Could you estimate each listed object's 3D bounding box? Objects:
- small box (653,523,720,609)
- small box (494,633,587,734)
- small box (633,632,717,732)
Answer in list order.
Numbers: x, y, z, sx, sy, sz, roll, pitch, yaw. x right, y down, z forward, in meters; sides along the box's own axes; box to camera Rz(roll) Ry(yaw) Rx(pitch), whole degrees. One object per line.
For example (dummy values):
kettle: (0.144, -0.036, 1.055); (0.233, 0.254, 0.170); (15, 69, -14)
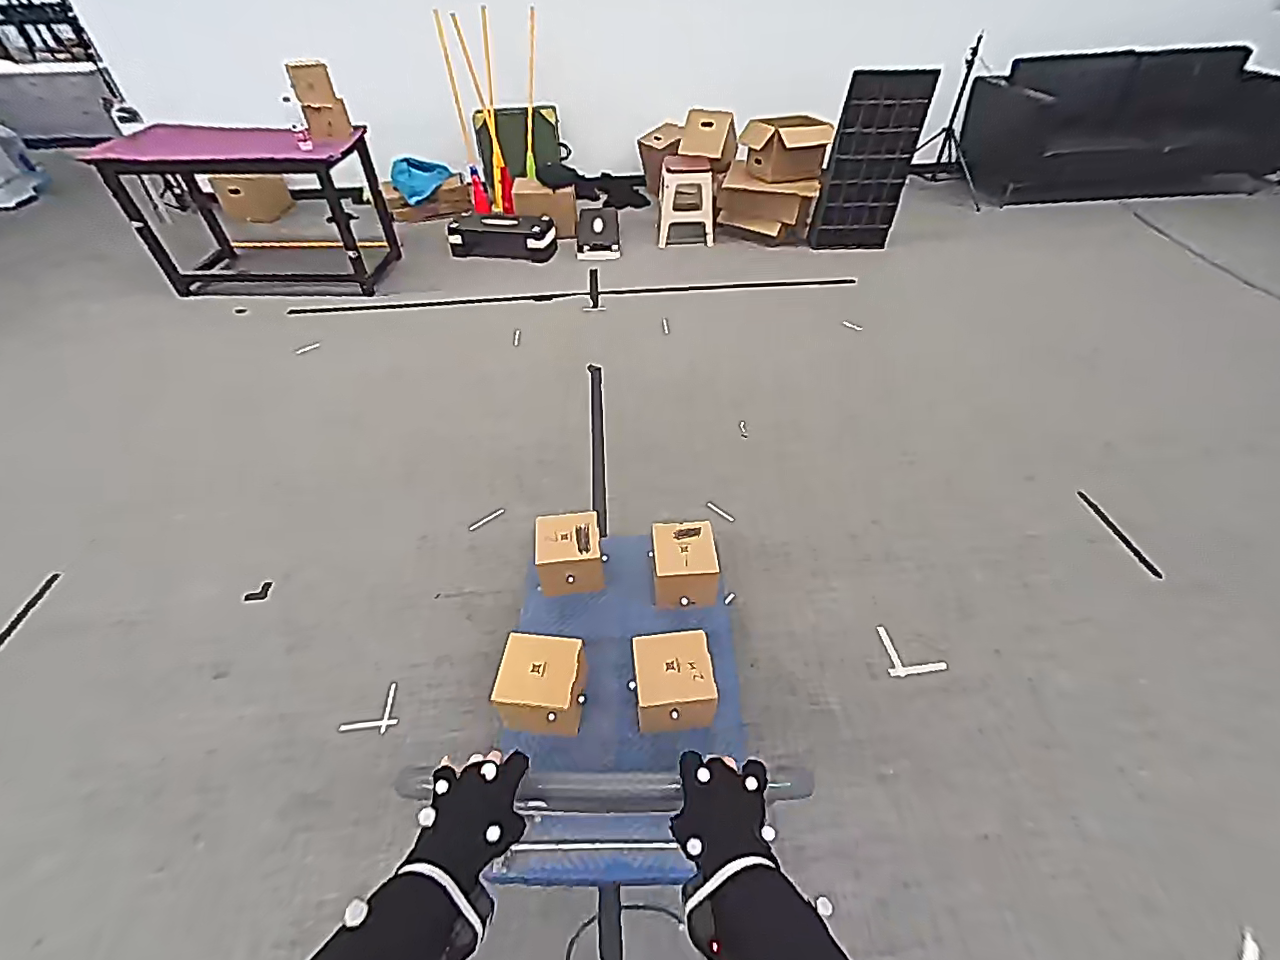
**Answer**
small box: (0.125, 0.242, 1.520); (0.168, 0.176, 0.179); (-3, 47, -1)
small box: (-0.228, 0.486, 1.287); (0.179, 0.176, 0.168); (5, 45, 3)
small box: (0.079, 0.482, 1.286); (0.179, 0.176, 0.168); (-4, 46, -3)
